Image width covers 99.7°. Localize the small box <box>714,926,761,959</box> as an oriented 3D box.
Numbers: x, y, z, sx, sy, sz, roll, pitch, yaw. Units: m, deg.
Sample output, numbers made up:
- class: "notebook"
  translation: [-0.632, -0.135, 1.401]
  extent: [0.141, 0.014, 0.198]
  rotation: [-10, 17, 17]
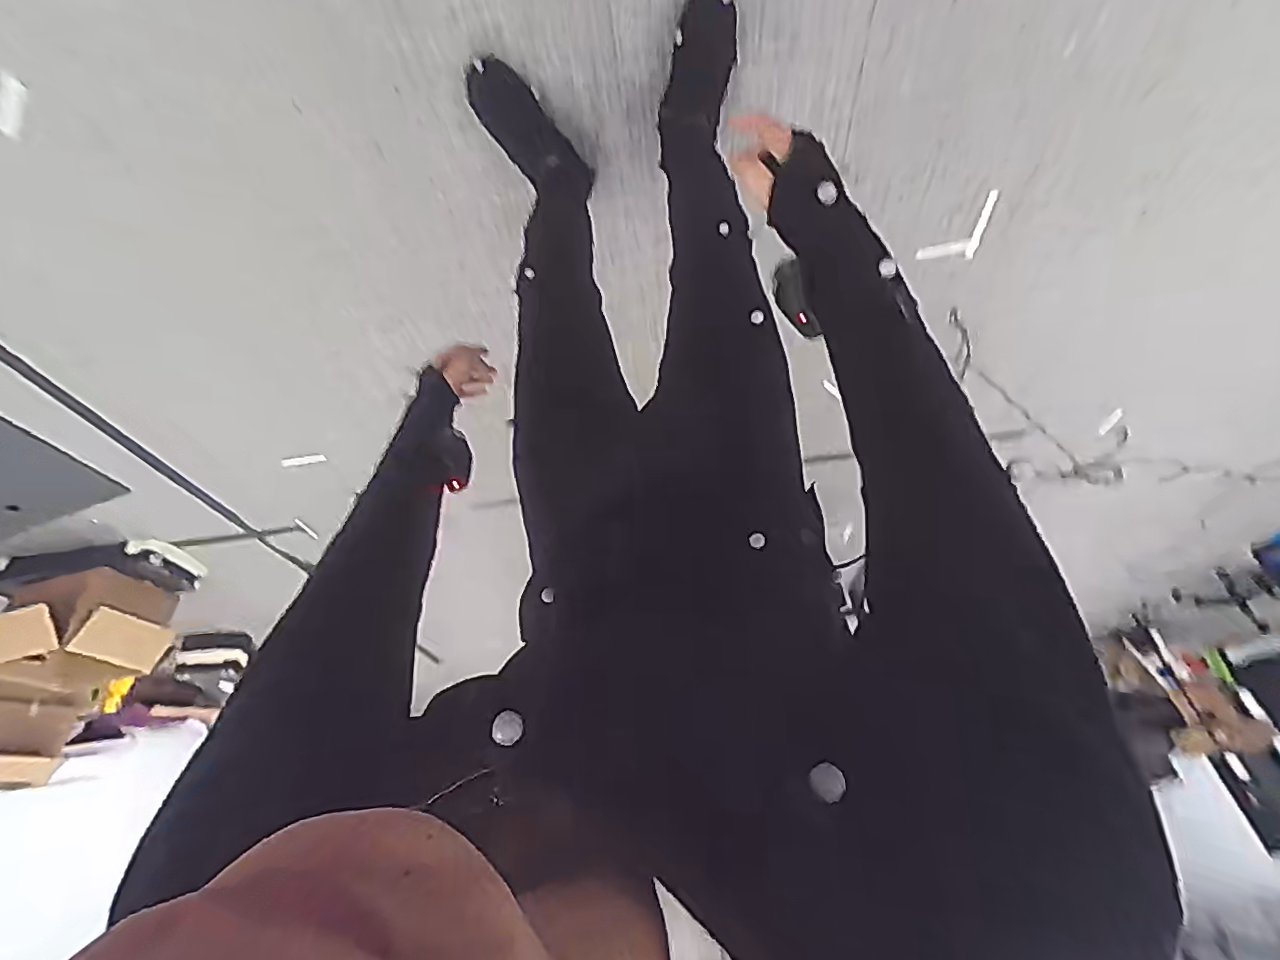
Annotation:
- class: "small box"
  translation: [0.411, 1.972, 2.244]
  extent: [0.168, 0.176, 0.179]
  rotation: [-15, 142, 9]
